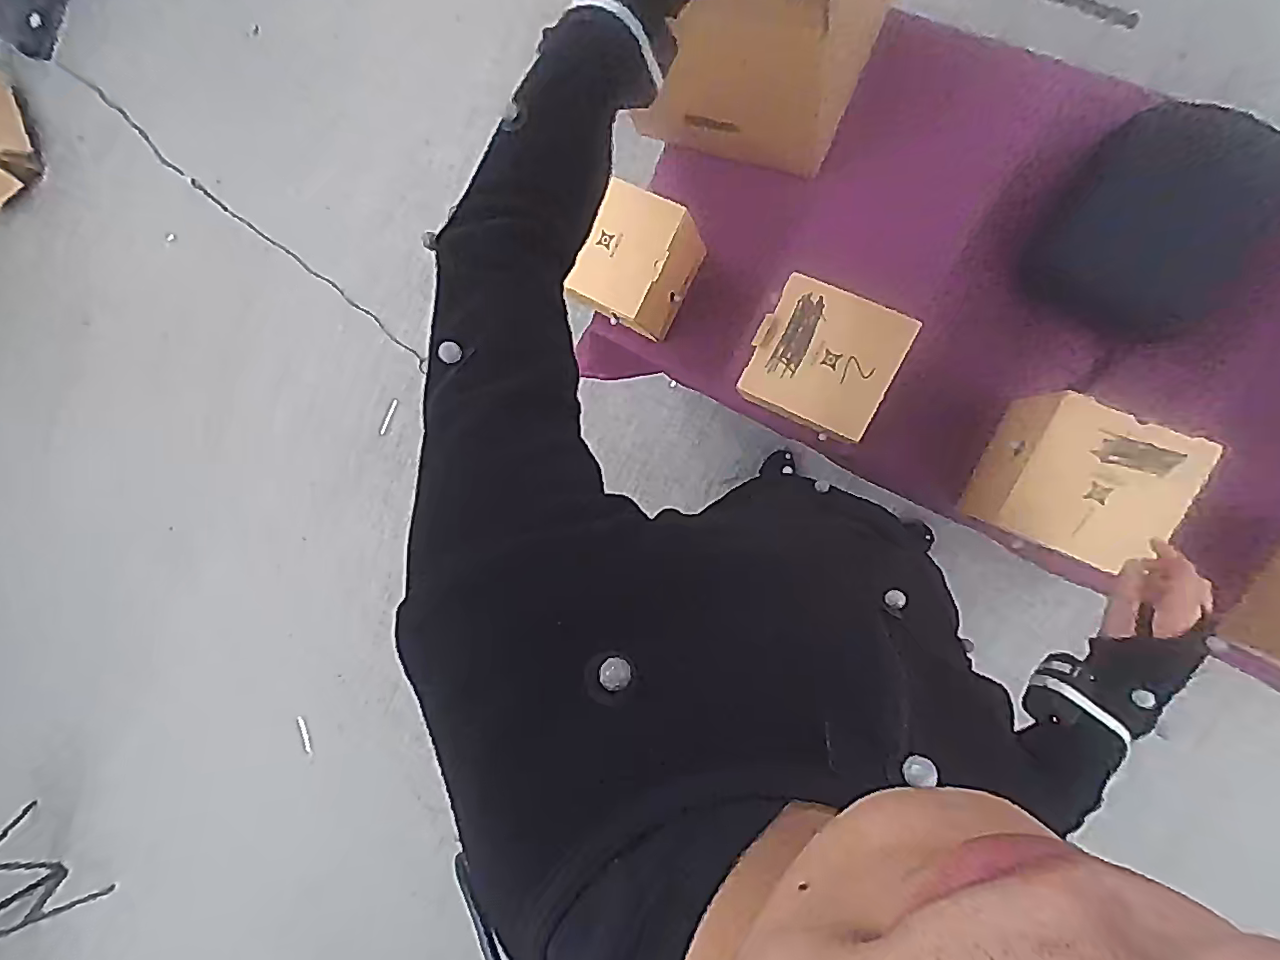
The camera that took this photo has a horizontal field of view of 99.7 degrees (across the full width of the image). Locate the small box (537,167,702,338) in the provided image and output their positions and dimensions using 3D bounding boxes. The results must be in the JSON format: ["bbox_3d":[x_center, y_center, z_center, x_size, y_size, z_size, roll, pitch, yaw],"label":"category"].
[{"bbox_3d":[-0.023,-0.338,0.840,0.179,0.176,0.168,29,100,11],"label":"small box"}]

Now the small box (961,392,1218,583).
[{"bbox_3d":[0.554,0.003,0.701,0.168,0.176,0.179,26,100,13],"label":"small box"}]

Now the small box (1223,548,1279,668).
[{"bbox_3d":[0.861,0.173,0.624,0.168,0.176,0.179,30,100,13],"label":"small box"}]
